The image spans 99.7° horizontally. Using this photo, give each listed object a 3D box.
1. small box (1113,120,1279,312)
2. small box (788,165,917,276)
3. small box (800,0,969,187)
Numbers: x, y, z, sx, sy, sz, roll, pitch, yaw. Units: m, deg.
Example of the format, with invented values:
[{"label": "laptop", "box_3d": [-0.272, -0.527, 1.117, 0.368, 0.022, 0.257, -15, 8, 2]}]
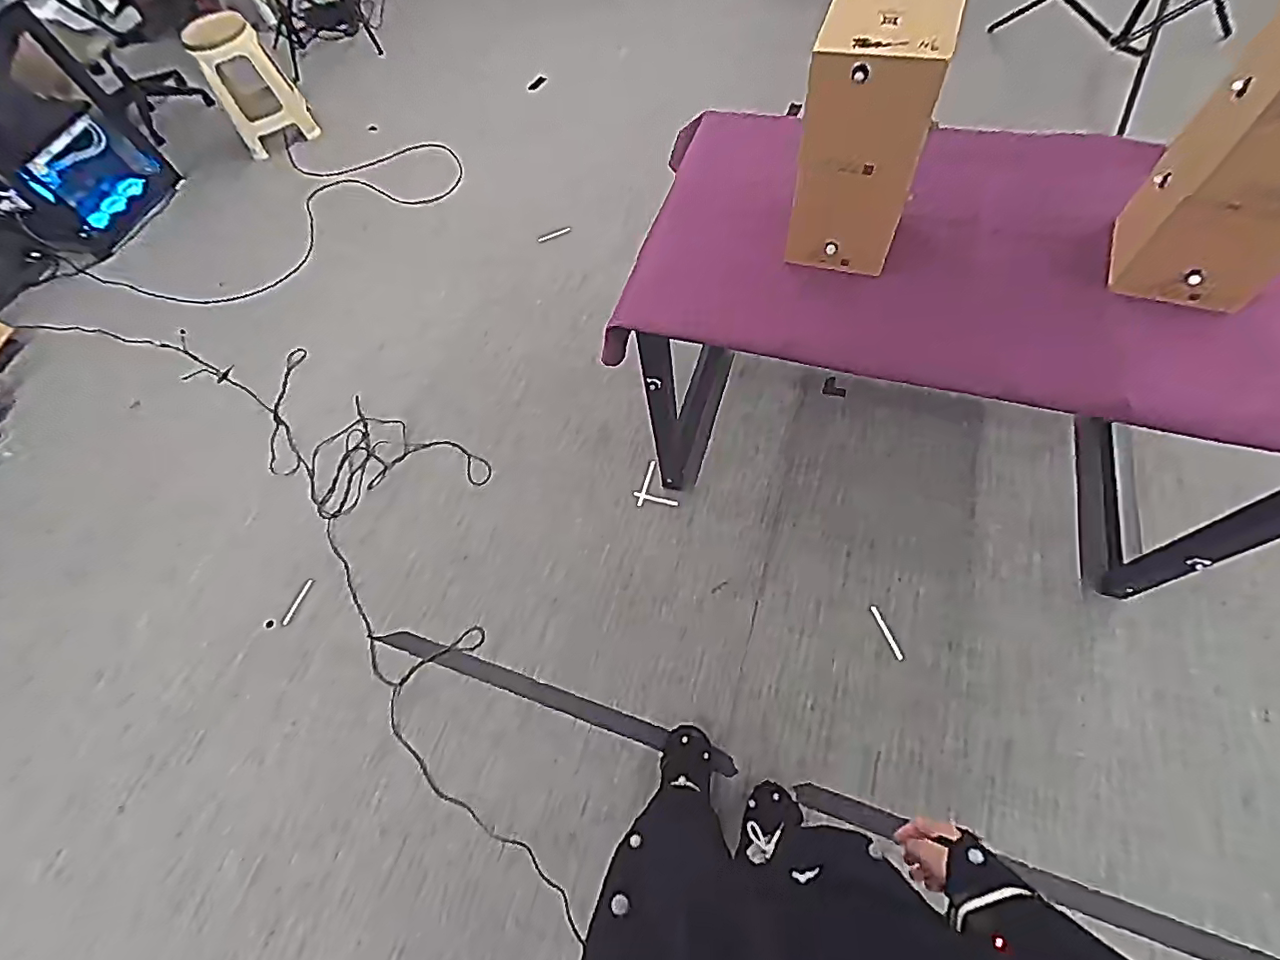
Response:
[{"label": "small box", "box_3d": [0.838, -0.380, 0.788, 0.168, 0.176, 0.179, 19, 67, 17]}, {"label": "small box", "box_3d": [0.353, -0.476, 0.904, 0.168, 0.176, 0.179, 15, 67, 15]}, {"label": "small box", "box_3d": [0.332, -0.550, 0.759, 0.168, 0.176, 0.179, 16, 66, 15]}]
